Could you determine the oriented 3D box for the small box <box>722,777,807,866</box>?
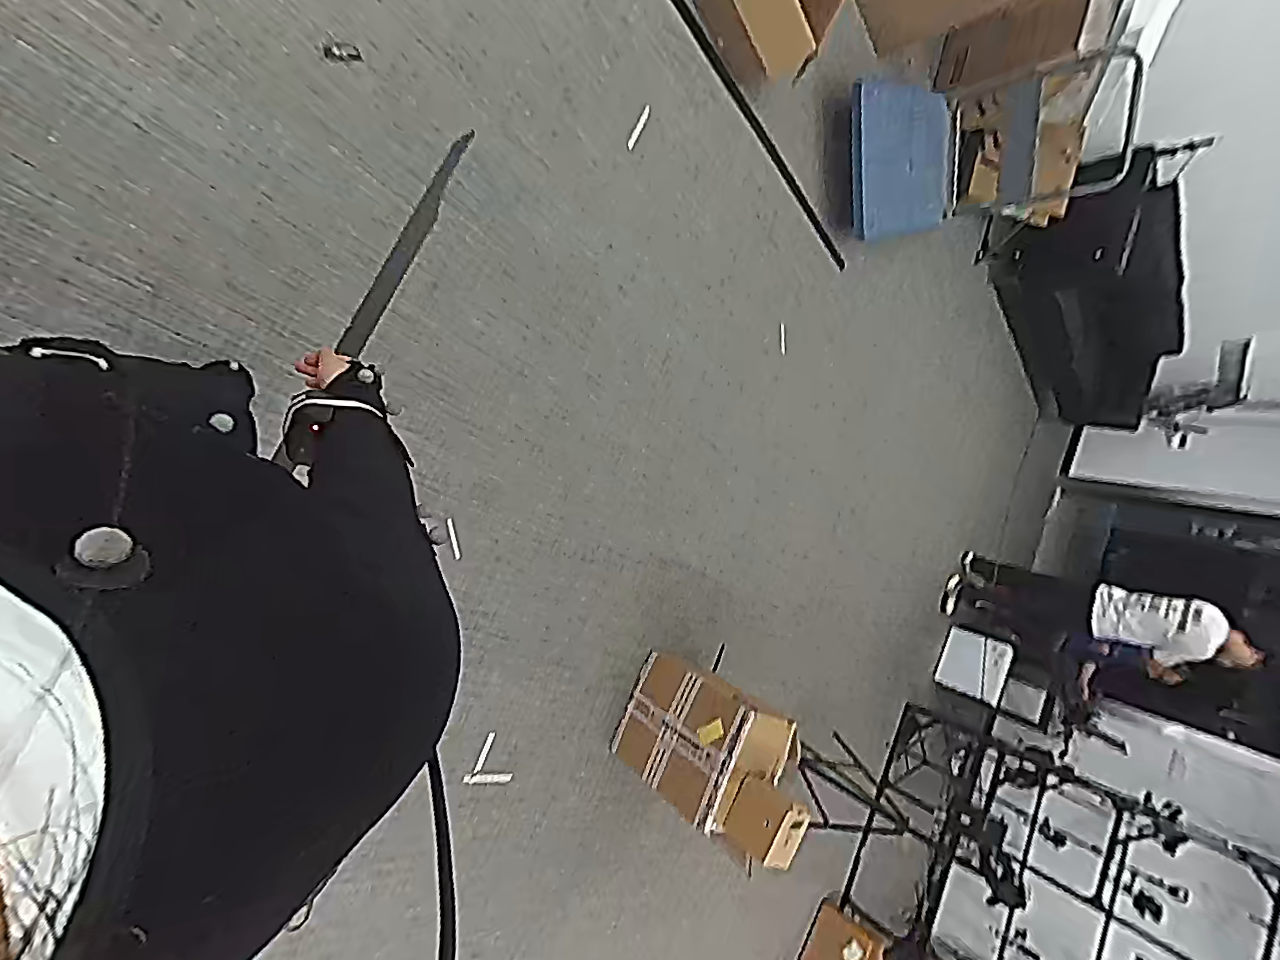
[{"bbox_3d":[0.390,1.078,1.713,0.168,0.176,0.179,38,77,-38],"label":"small box"}]
